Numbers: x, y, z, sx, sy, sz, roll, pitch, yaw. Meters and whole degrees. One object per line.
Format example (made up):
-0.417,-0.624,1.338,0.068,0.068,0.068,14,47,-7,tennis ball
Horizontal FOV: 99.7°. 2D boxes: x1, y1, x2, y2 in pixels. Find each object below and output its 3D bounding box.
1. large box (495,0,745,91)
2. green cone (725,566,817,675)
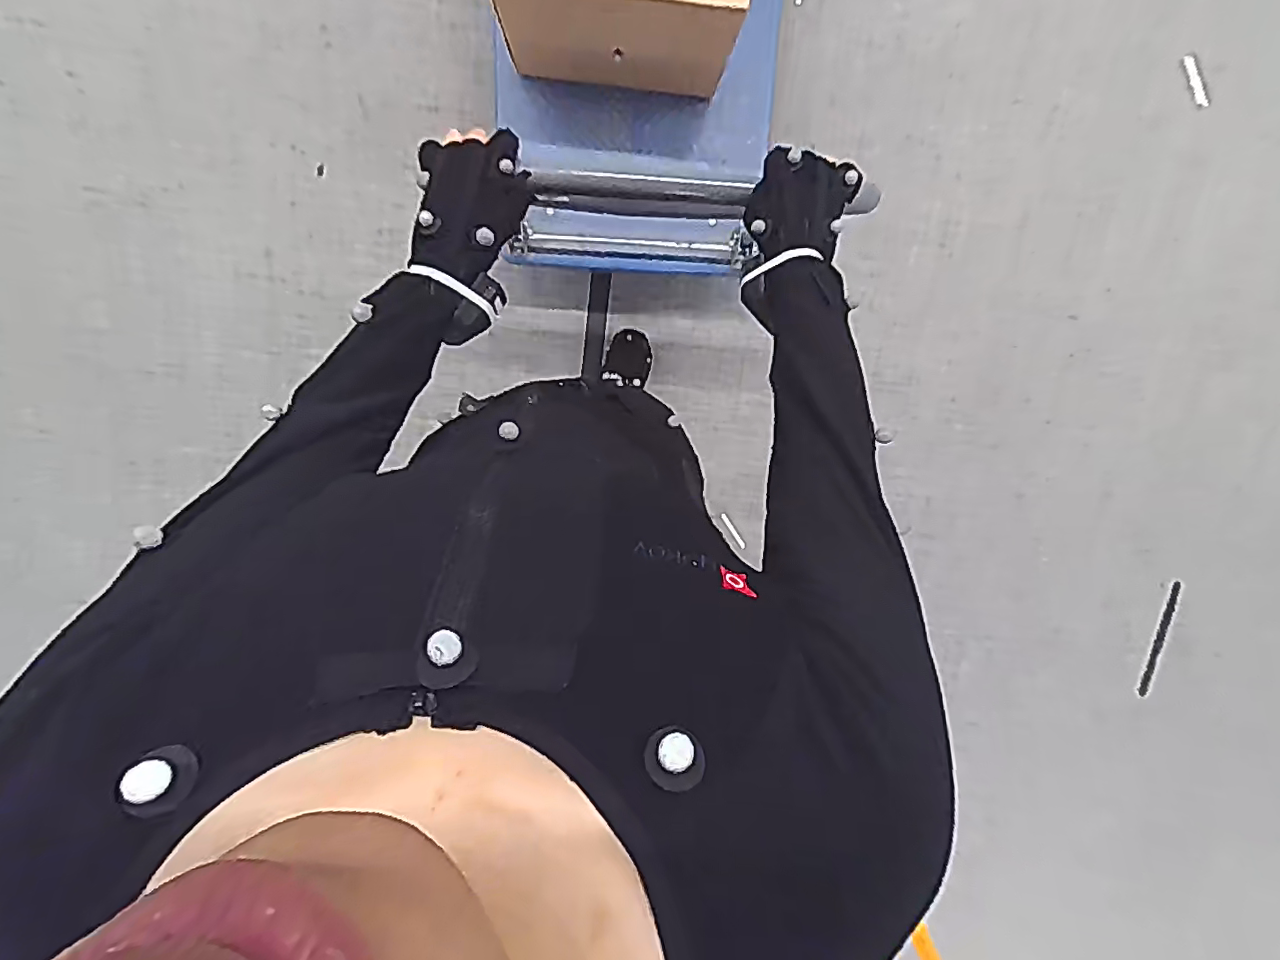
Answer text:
-0.028,-0.927,0.940,0.408,0.320,0.320,4,104,-3,large box
0.373,0.395,1.422,0.202,0.368,0.200,10,103,-6,green cone
